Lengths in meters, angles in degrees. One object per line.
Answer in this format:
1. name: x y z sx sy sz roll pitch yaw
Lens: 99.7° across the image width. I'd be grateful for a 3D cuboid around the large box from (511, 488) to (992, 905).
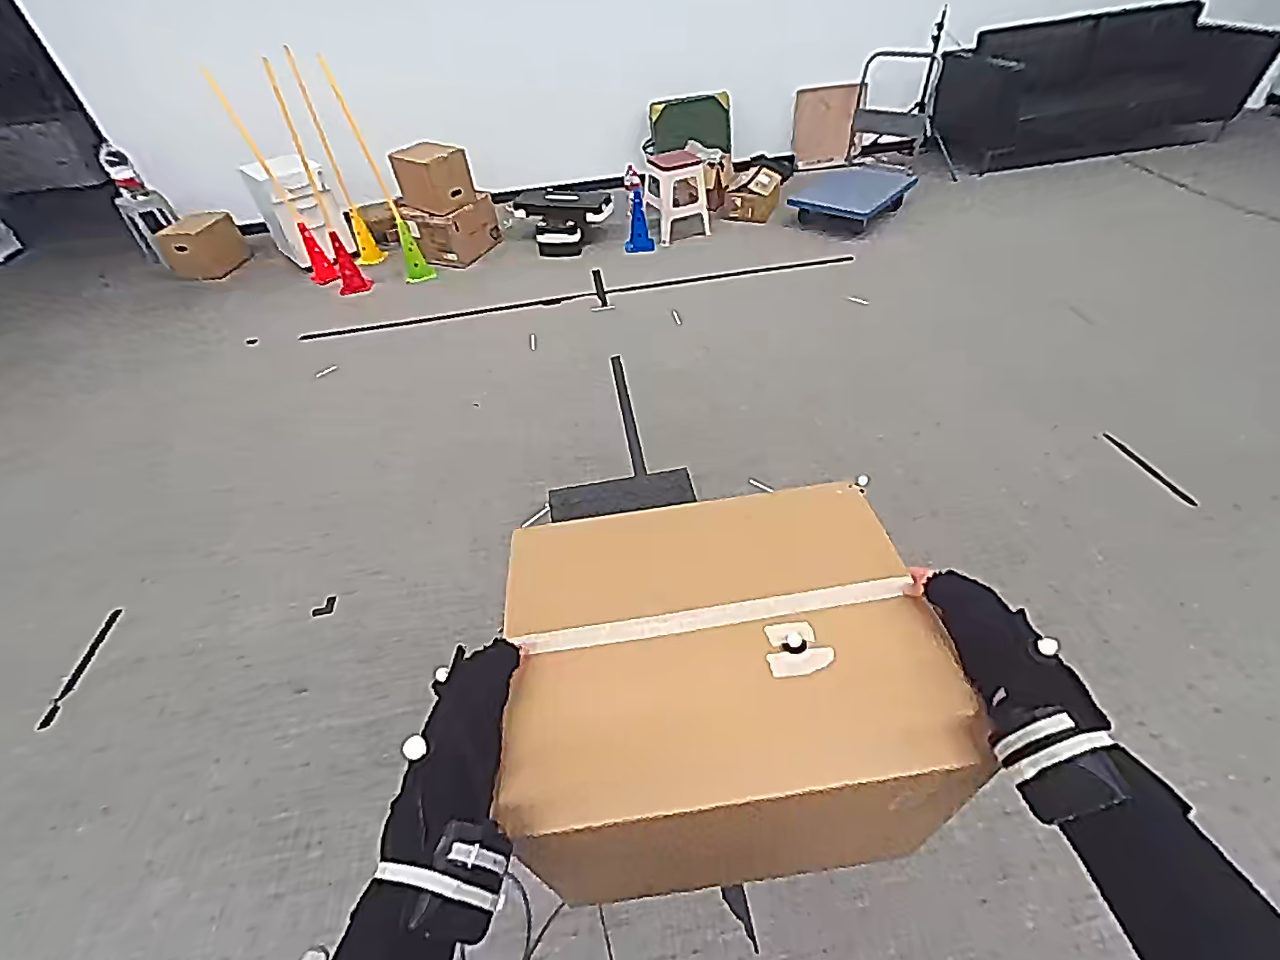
1. large box: 0.087 0.251 0.639 0.408 0.320 0.320 -9 43 -1
